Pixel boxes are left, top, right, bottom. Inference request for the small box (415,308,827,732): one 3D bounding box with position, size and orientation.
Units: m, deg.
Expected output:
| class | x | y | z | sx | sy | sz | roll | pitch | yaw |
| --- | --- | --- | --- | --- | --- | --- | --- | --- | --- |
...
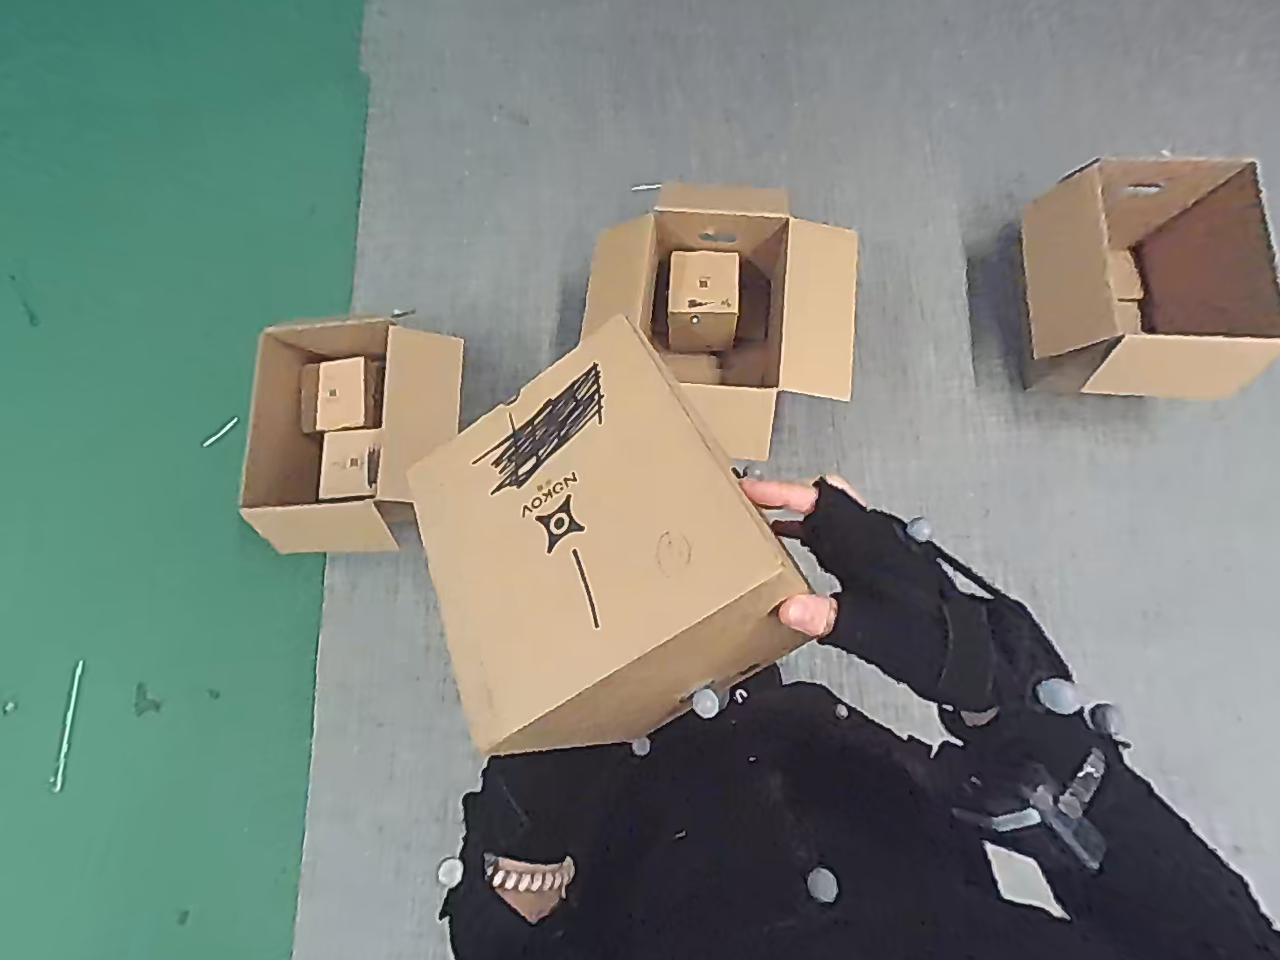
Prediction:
| class | x | y | z | sx | sy | sz | roll | pitch | yaw |
| --- | --- | --- | --- | --- | --- | --- | --- | --- | --- |
| small box | -0.006 | 0.038 | 0.341 | 0.168 | 0.176 | 0.179 | -34 | 58 | 11 |
